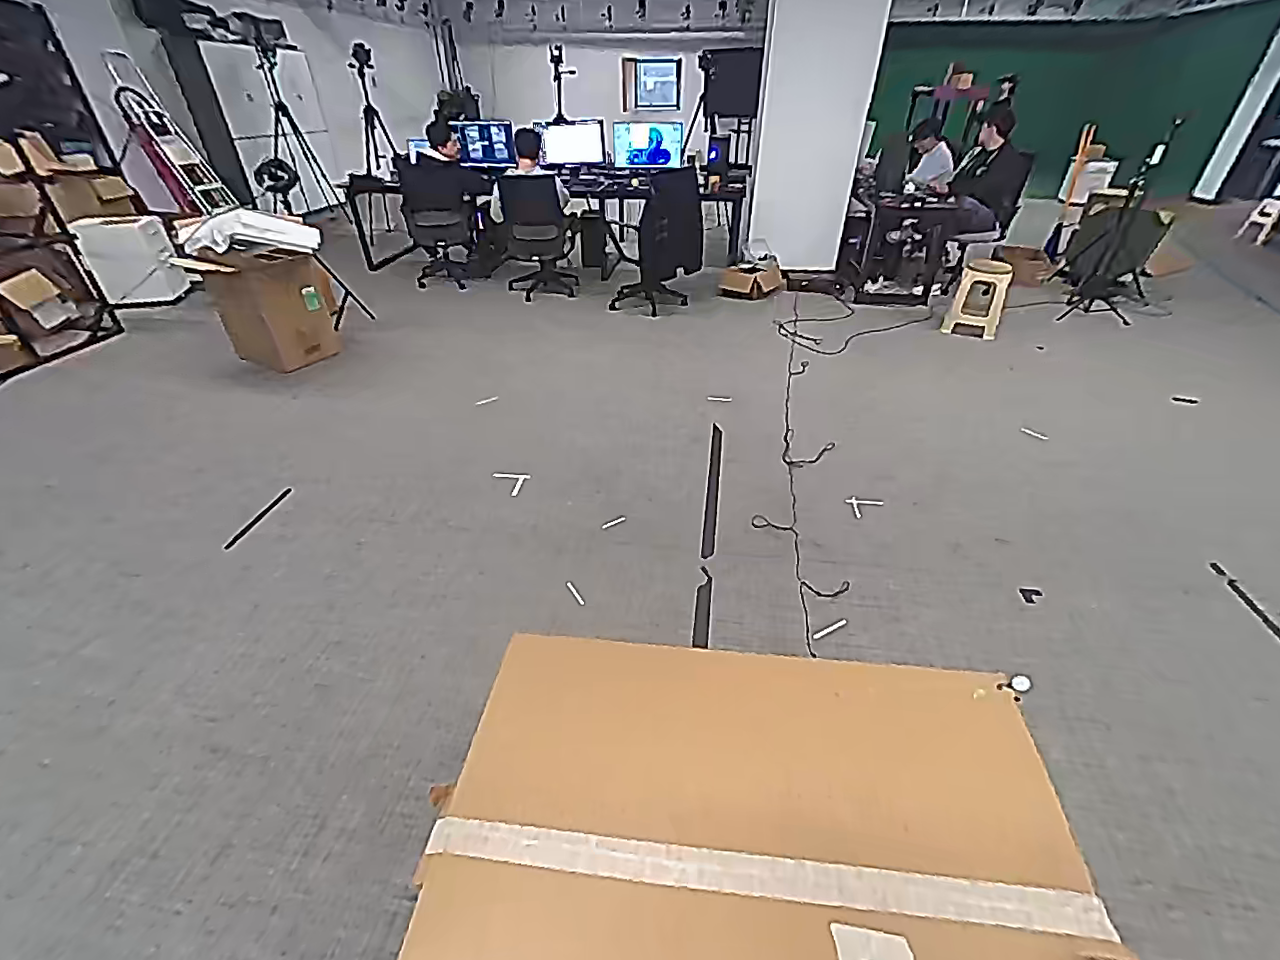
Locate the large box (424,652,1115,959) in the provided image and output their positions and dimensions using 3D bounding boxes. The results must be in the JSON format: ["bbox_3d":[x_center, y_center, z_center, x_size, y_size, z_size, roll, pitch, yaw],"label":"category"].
[{"bbox_3d":[0.078,0.369,0.435,0.408,0.320,0.320,3,41,6],"label":"large box"}]
